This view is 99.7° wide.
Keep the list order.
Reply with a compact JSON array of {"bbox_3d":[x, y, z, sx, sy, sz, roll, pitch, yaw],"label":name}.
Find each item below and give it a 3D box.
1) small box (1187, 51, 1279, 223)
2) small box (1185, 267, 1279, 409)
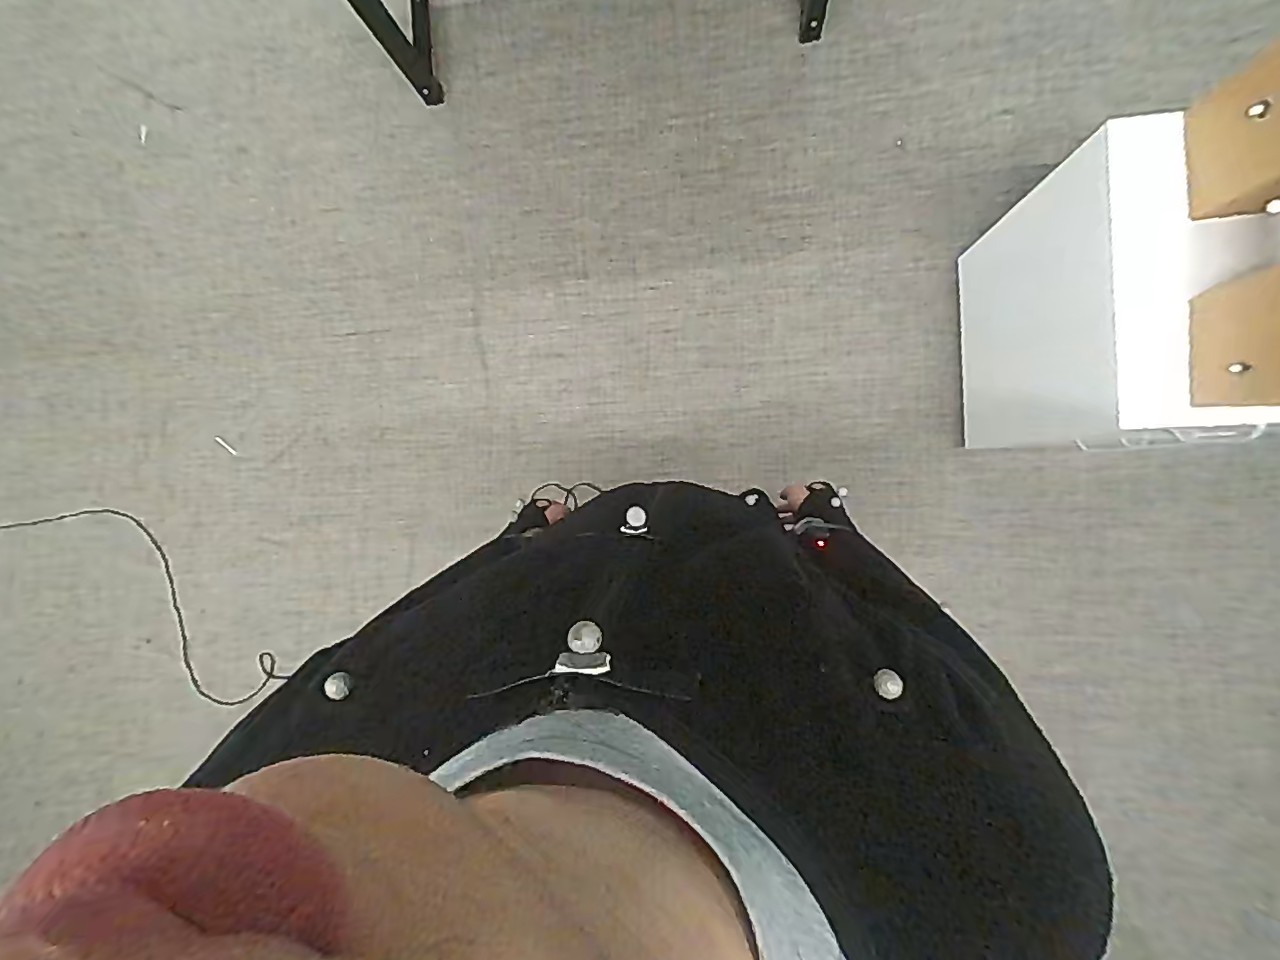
[{"bbox_3d":[0.934,-0.494,0.765,0.168,0.176,0.179,-3,91,8],"label":"small box"},{"bbox_3d":[0.935,-0.196,0.768,0.168,0.176,0.179,0,88,7],"label":"small box"}]
